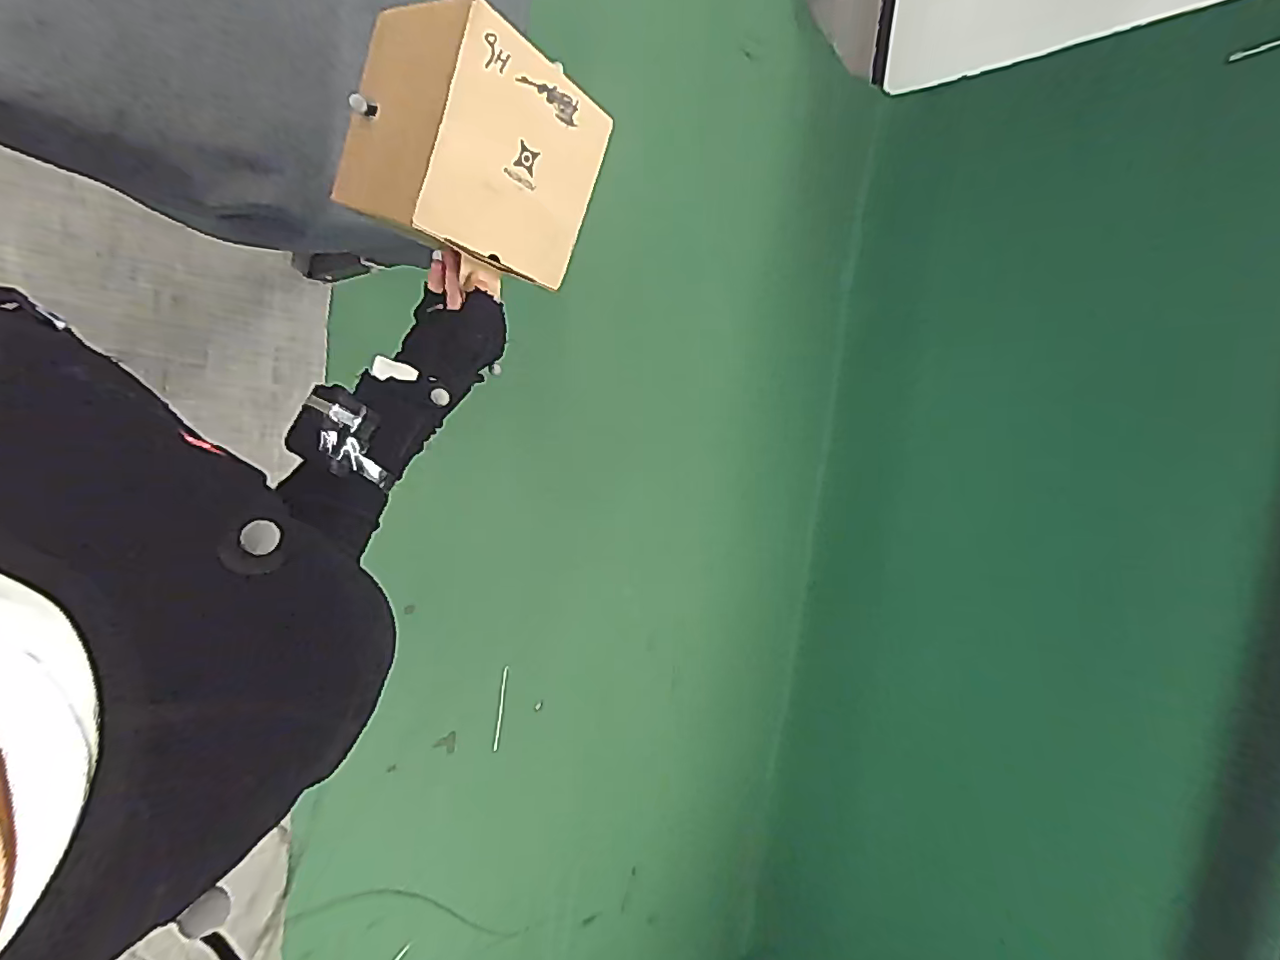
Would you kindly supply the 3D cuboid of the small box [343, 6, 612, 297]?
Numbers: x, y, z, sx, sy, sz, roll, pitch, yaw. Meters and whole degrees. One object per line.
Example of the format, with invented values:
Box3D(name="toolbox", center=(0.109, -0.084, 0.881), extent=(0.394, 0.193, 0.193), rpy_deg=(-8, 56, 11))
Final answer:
Box3D(name="small box", center=(-0.164, -0.309, 0.532), extent=(0.168, 0.176, 0.179), rpy_deg=(5, 111, -54))
